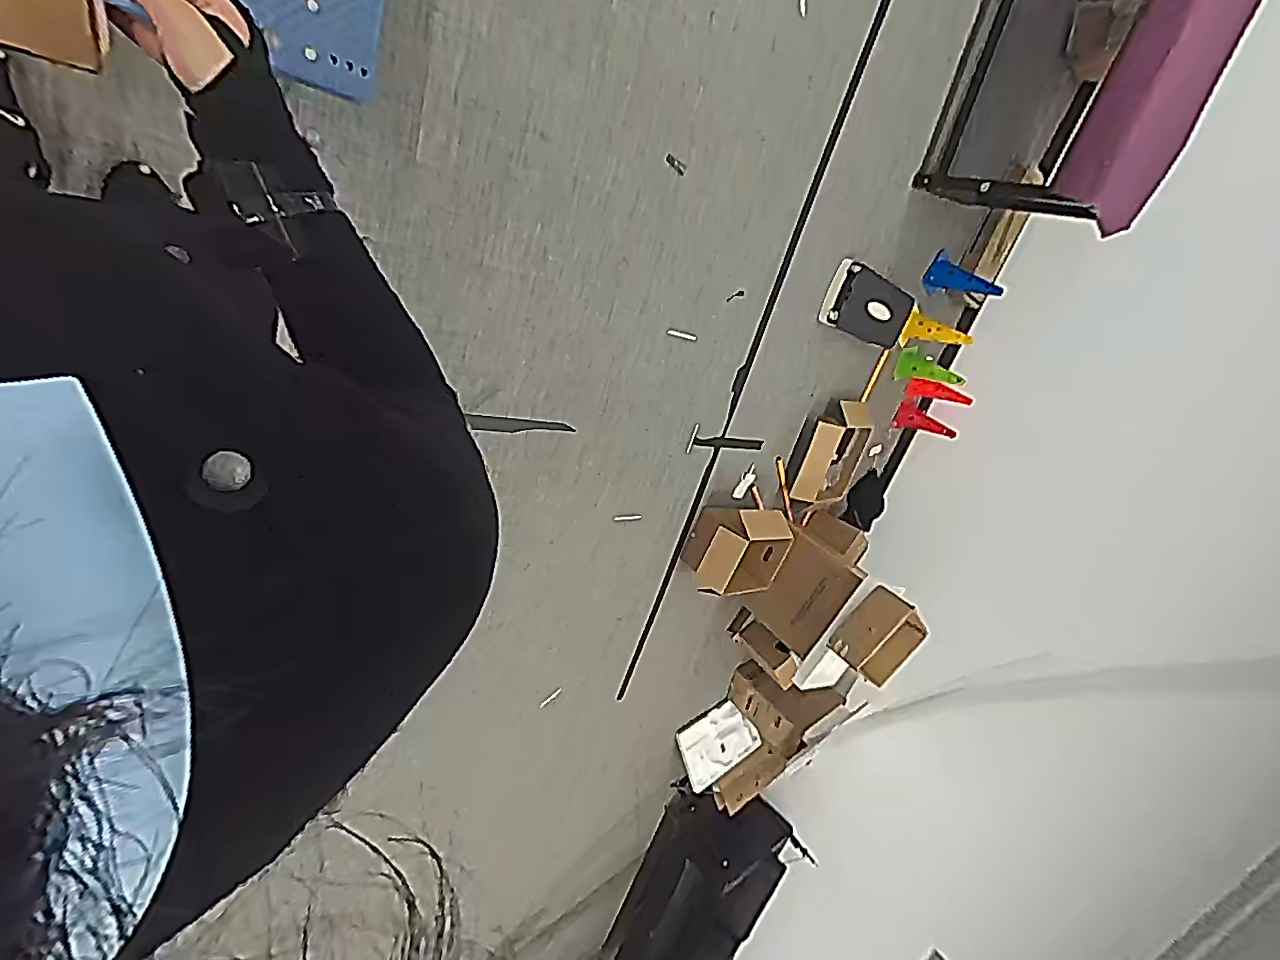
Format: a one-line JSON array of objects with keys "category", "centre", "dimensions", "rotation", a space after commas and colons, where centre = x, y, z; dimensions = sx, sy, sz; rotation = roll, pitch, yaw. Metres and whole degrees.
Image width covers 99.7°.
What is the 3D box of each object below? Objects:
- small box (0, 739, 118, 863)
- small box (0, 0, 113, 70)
[{"category": "small box", "centre": [-1.444, 0.797, 1.357], "dimensions": [0.168, 0.176, 0.179], "rotation": [-15, 127, -38]}, {"category": "small box", "centre": [-0.435, -0.384, 0.314], "dimensions": [0.168, 0.176, 0.179], "rotation": [-8, 132, -40]}]
